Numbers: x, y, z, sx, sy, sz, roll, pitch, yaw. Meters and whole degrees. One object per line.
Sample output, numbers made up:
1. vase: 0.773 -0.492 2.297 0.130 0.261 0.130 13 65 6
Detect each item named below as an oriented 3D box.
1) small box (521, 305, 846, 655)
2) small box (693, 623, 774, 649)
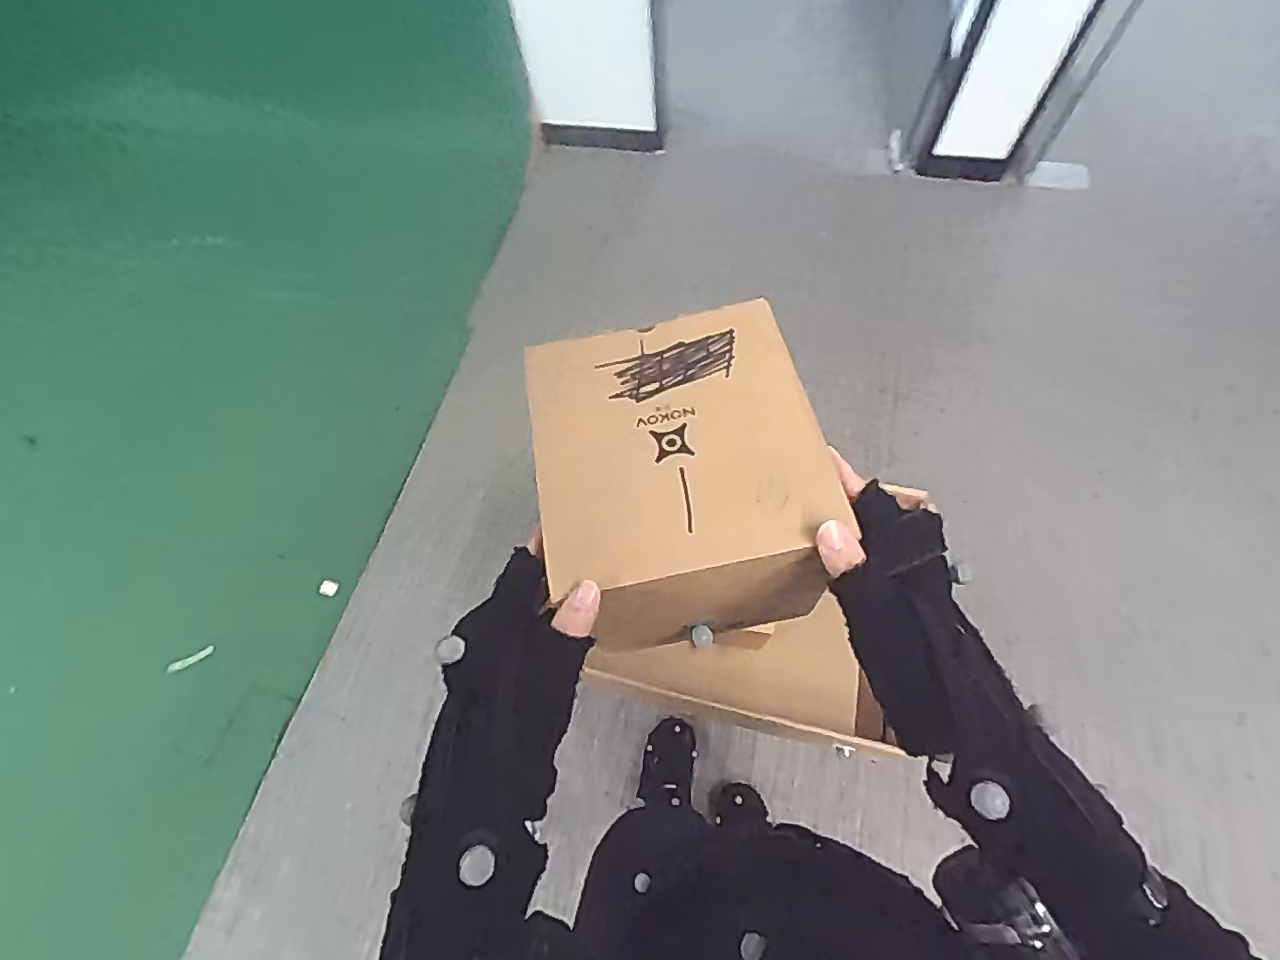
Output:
1. small box: 0.023 0.011 0.391 0.168 0.176 0.179 -13 62 2
2. small box: 0.132 0.167 0.892 0.168 0.176 0.179 6 66 9
